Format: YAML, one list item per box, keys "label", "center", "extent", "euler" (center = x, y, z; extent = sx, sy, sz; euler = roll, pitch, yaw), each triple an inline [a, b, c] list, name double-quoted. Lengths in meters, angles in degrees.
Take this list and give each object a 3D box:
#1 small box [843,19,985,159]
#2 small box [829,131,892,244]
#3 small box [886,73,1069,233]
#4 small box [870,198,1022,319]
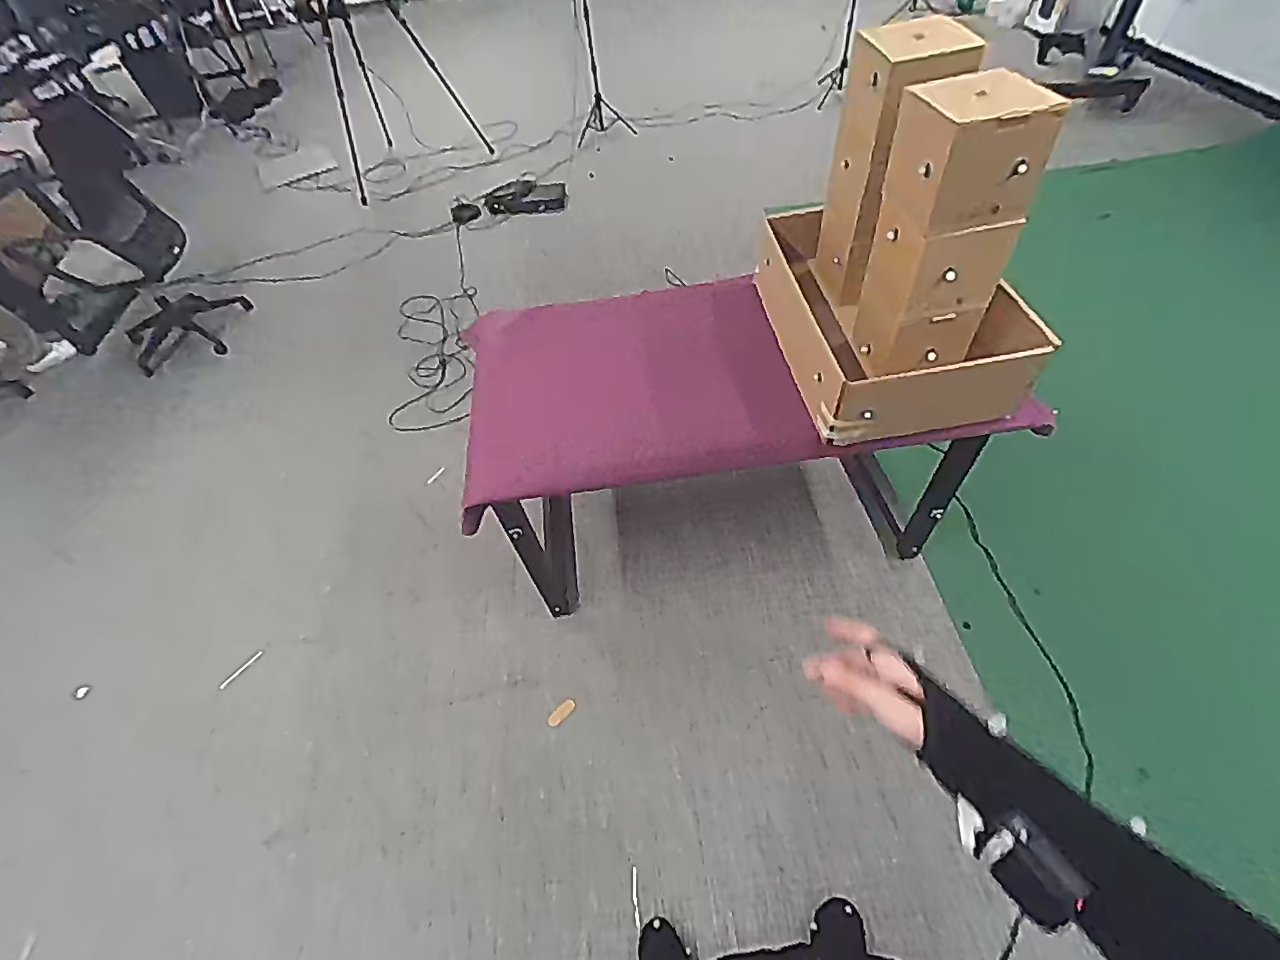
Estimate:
- label: "small box"
  center: [0.507, -0.735, 1.030]
  extent: [0.168, 0.176, 0.179]
  euler: [-9, 54, 1]
- label: "small box"
  center: [0.524, -0.641, 1.166]
  extent: [0.168, 0.176, 0.179]
  euler: [-11, 54, 1]
- label: "small box"
  center: [0.524, -0.518, 0.872]
  extent: [0.168, 0.176, 0.179]
  euler: [-10, 50, 1]
- label: "small box"
  center: [0.547, -0.414, 0.997]
  extent: [0.168, 0.176, 0.179]
  euler: [-10, 51, 2]
